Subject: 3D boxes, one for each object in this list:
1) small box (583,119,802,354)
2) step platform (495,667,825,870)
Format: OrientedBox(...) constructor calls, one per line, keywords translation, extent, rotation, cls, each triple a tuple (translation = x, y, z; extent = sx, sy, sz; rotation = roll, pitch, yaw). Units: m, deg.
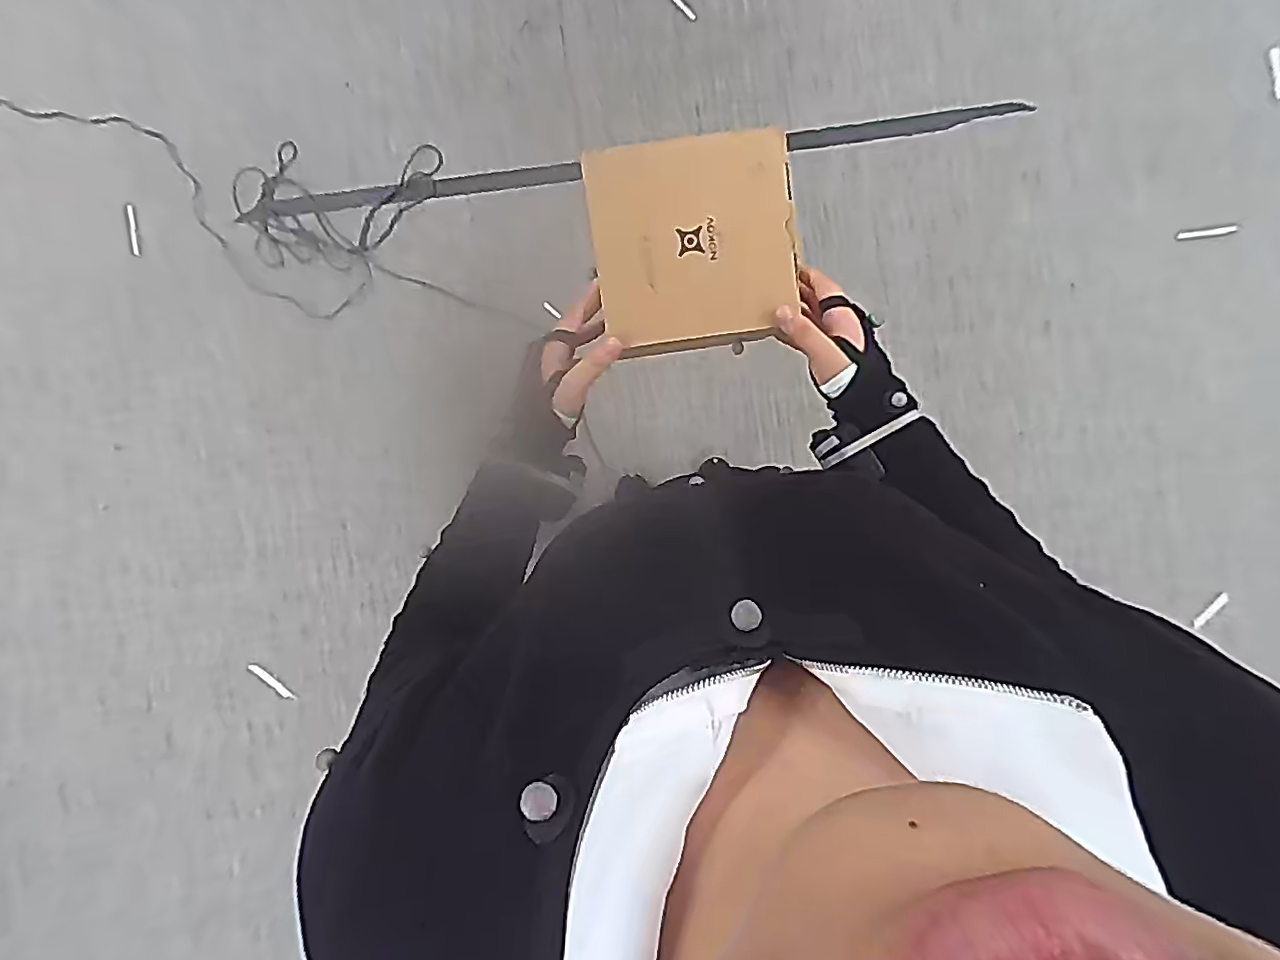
OrientedBox(translation=(0.046, -0.226, 0.547), extent=(0.179, 0.176, 0.168), rotation=(-9, 99, 1), cls="small box")
OrientedBox(translation=(0.042, 0.628, 1.214), extent=(0.684, 0.204, 0.286), rotation=(-9, 92, 2), cls="step platform")
